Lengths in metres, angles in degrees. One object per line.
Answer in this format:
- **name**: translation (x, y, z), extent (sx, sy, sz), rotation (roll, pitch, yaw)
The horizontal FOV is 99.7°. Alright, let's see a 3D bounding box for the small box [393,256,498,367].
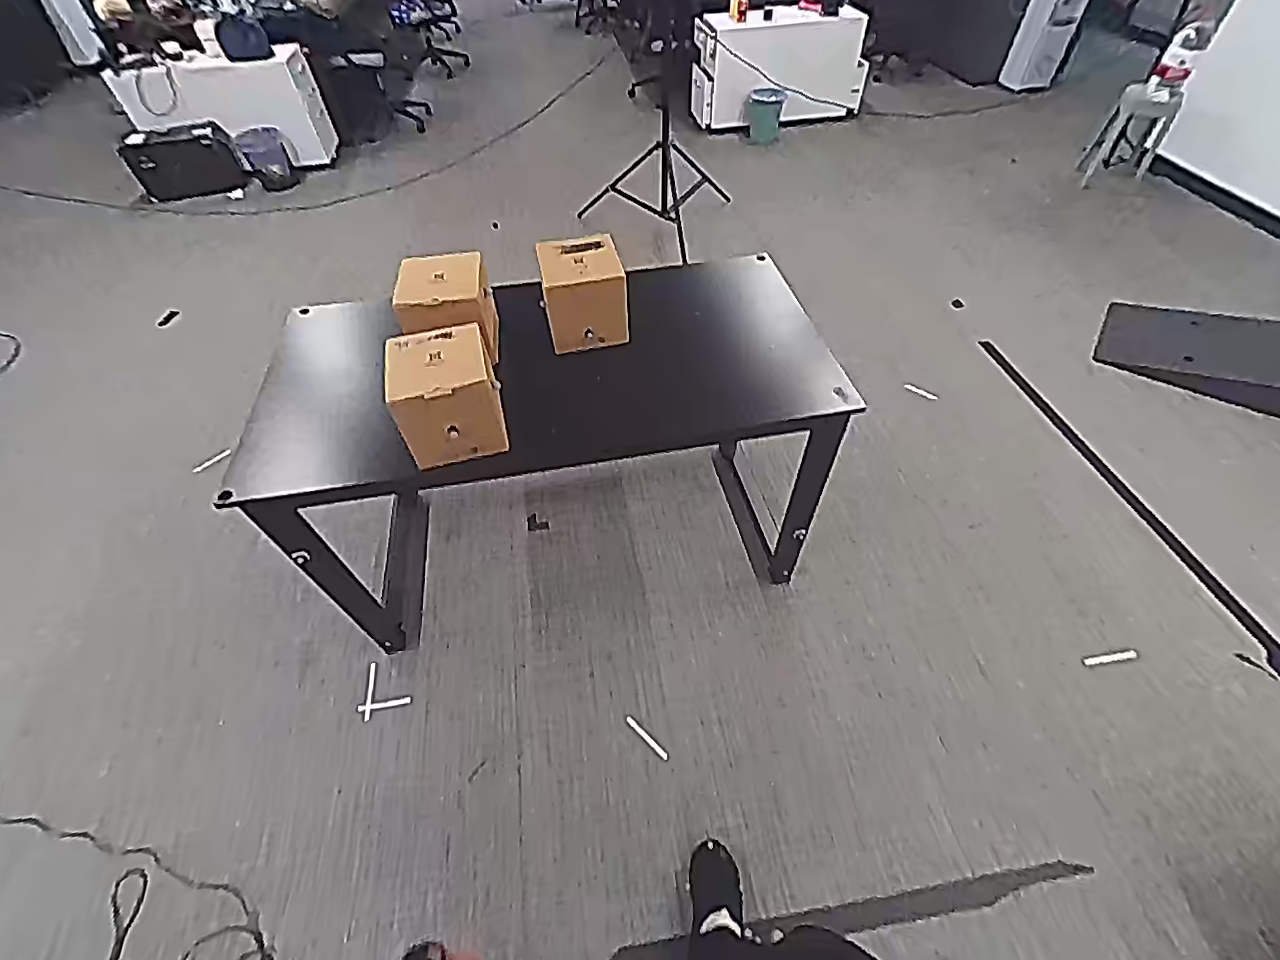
- **small box**: translation (-0.406, -0.353, 1.161), extent (0.168, 0.176, 0.179), rotation (-8, 51, -4)

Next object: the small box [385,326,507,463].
- **small box**: translation (-0.350, -0.150, 0.991), extent (0.168, 0.176, 0.179), rotation (-14, 52, -9)
